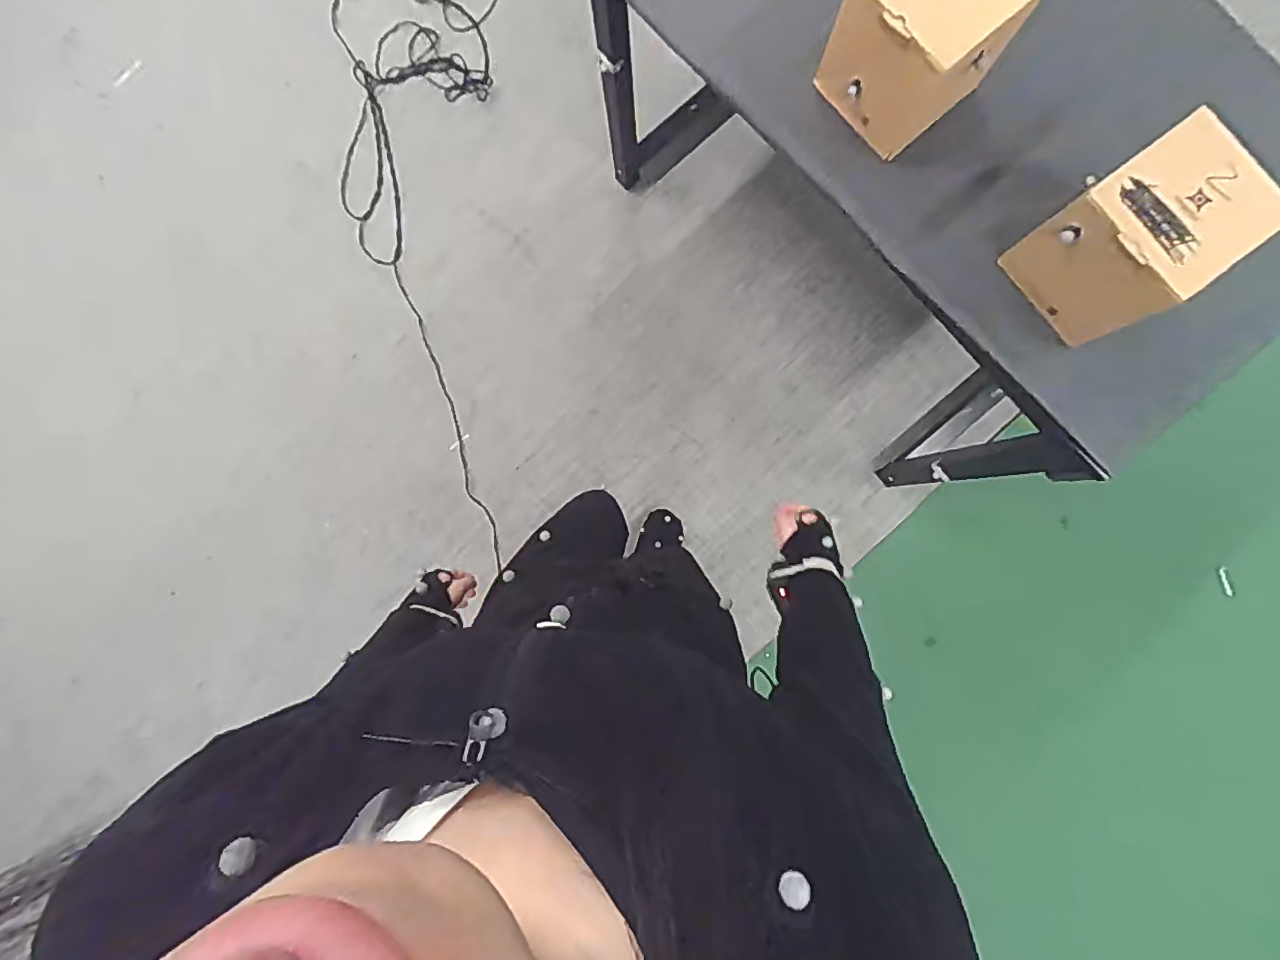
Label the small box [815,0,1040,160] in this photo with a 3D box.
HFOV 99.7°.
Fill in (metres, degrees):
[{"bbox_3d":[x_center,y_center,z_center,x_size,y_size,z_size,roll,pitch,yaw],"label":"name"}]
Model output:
[{"bbox_3d":[0.368,-0.587,0.725,0.179,0.176,0.168,-40,88,-1],"label":"small box"}]
